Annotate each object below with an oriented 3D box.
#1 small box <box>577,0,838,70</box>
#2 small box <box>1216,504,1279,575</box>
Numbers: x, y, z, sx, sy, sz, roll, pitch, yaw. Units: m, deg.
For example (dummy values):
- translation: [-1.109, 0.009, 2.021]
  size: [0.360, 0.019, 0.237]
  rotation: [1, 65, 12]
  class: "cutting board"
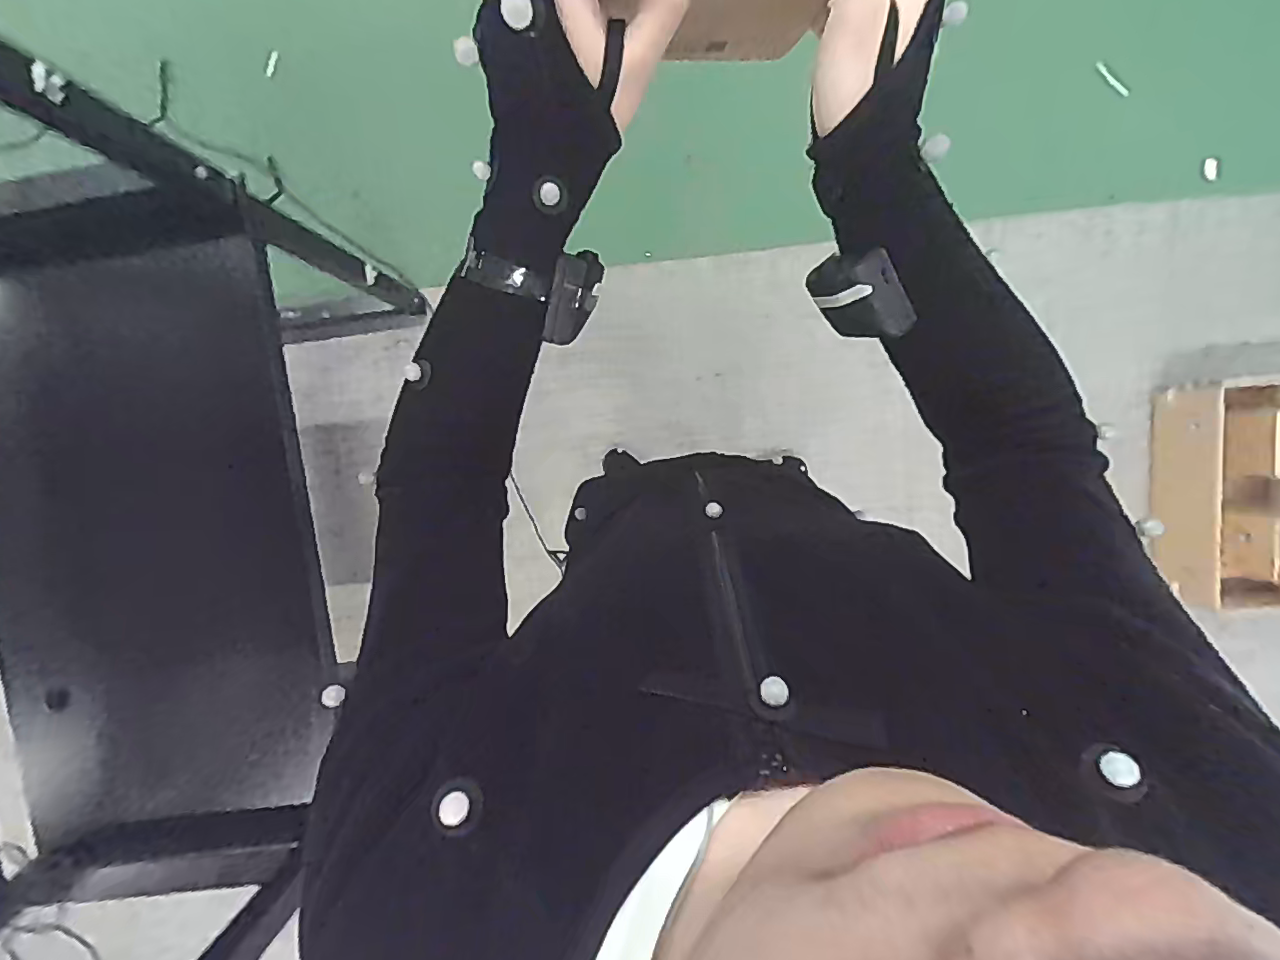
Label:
- translation: [0.044, -0.380, 0.311]
  size: [0.168, 0.176, 0.179]
  rotation: [-4, 104, -6]
  class: "small box"
- translation: [1.715, 0.156, 1.453]
  size: [0.179, 0.176, 0.168]
  rotation: [-3, 94, 2]
  class: "small box"
